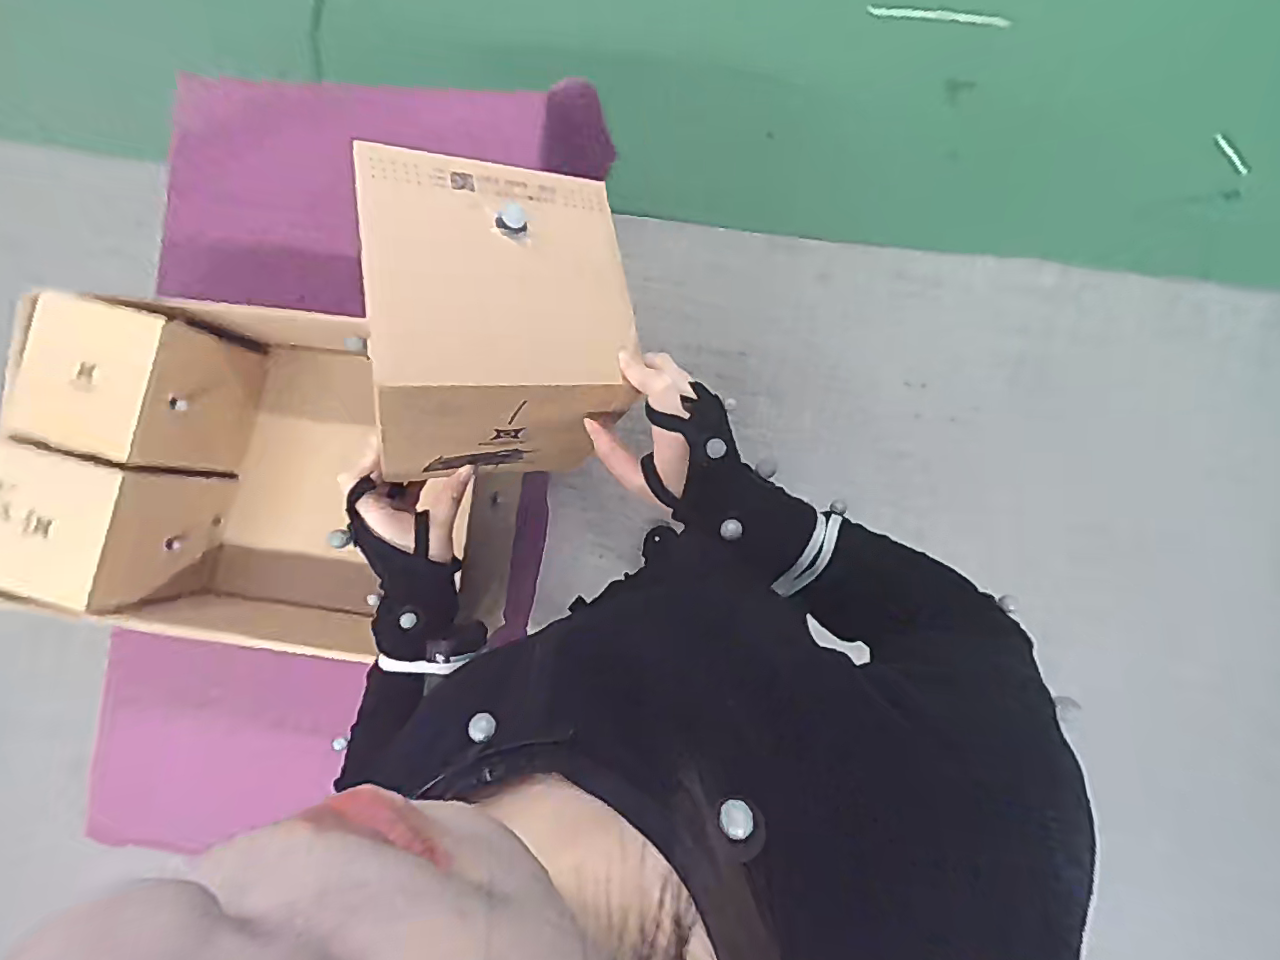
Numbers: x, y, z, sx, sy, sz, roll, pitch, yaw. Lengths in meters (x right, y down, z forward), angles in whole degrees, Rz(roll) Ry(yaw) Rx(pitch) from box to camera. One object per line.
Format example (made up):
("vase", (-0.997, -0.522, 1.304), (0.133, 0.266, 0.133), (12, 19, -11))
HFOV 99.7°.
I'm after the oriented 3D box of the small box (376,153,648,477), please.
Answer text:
("small box", (-0.112, -0.110, 0.428), (0.168, 0.179, 0.176), (-4, 73, -25))
